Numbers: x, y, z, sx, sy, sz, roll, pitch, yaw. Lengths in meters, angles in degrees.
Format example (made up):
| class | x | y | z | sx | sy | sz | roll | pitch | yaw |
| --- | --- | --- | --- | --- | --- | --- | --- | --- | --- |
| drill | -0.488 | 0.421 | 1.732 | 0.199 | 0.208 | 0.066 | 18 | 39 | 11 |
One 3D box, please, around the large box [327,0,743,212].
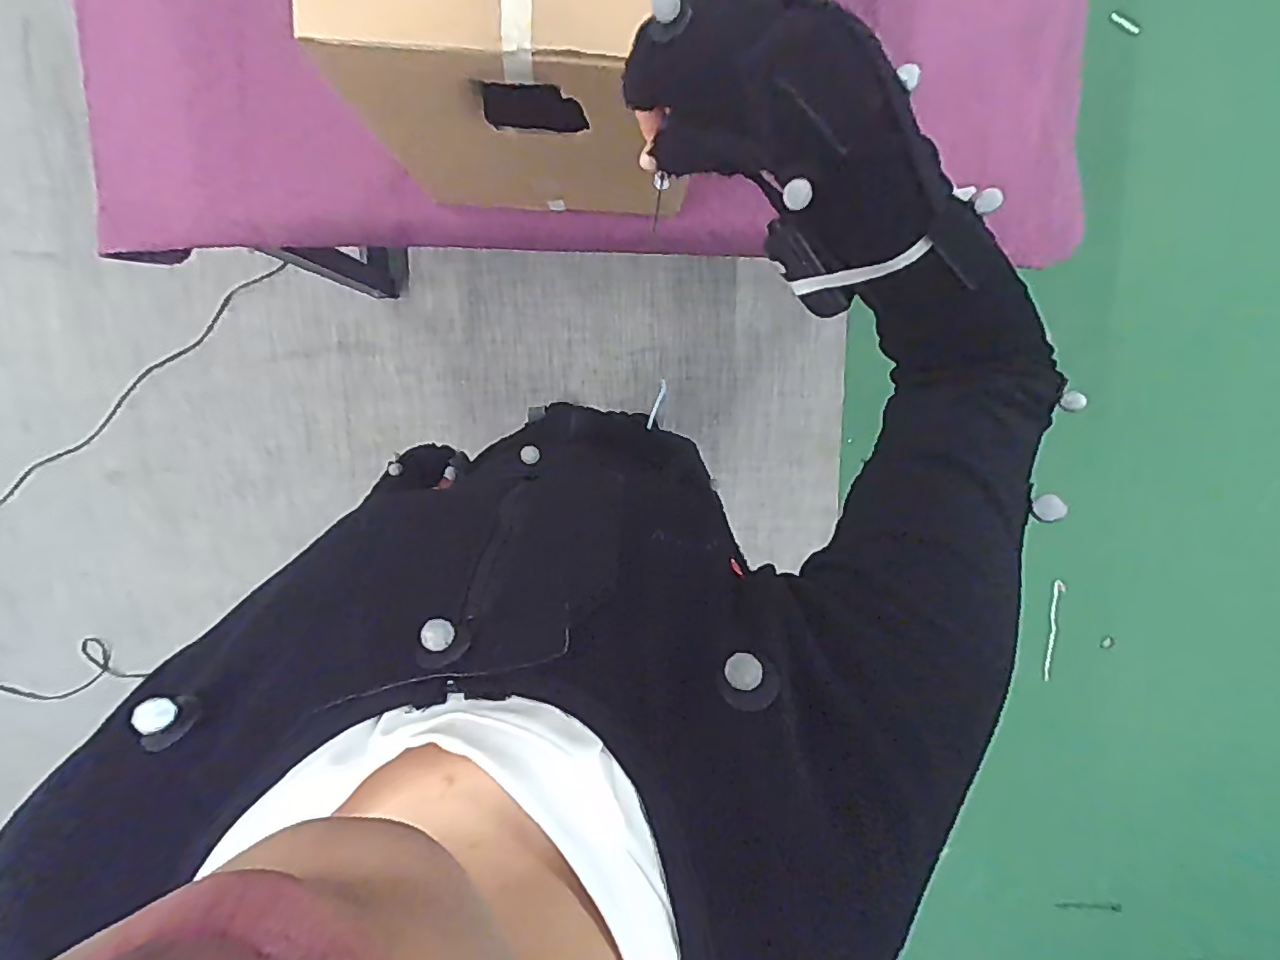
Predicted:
| class | x | y | z | sx | sy | sz | roll | pitch | yaw |
| --- | --- | --- | --- | --- | --- | --- | --- | --- | --- |
| large box | -0.079 | -0.531 | 0.524 | 0.320 | 0.320 | 0.408 | 3 | 99 | -3 |
